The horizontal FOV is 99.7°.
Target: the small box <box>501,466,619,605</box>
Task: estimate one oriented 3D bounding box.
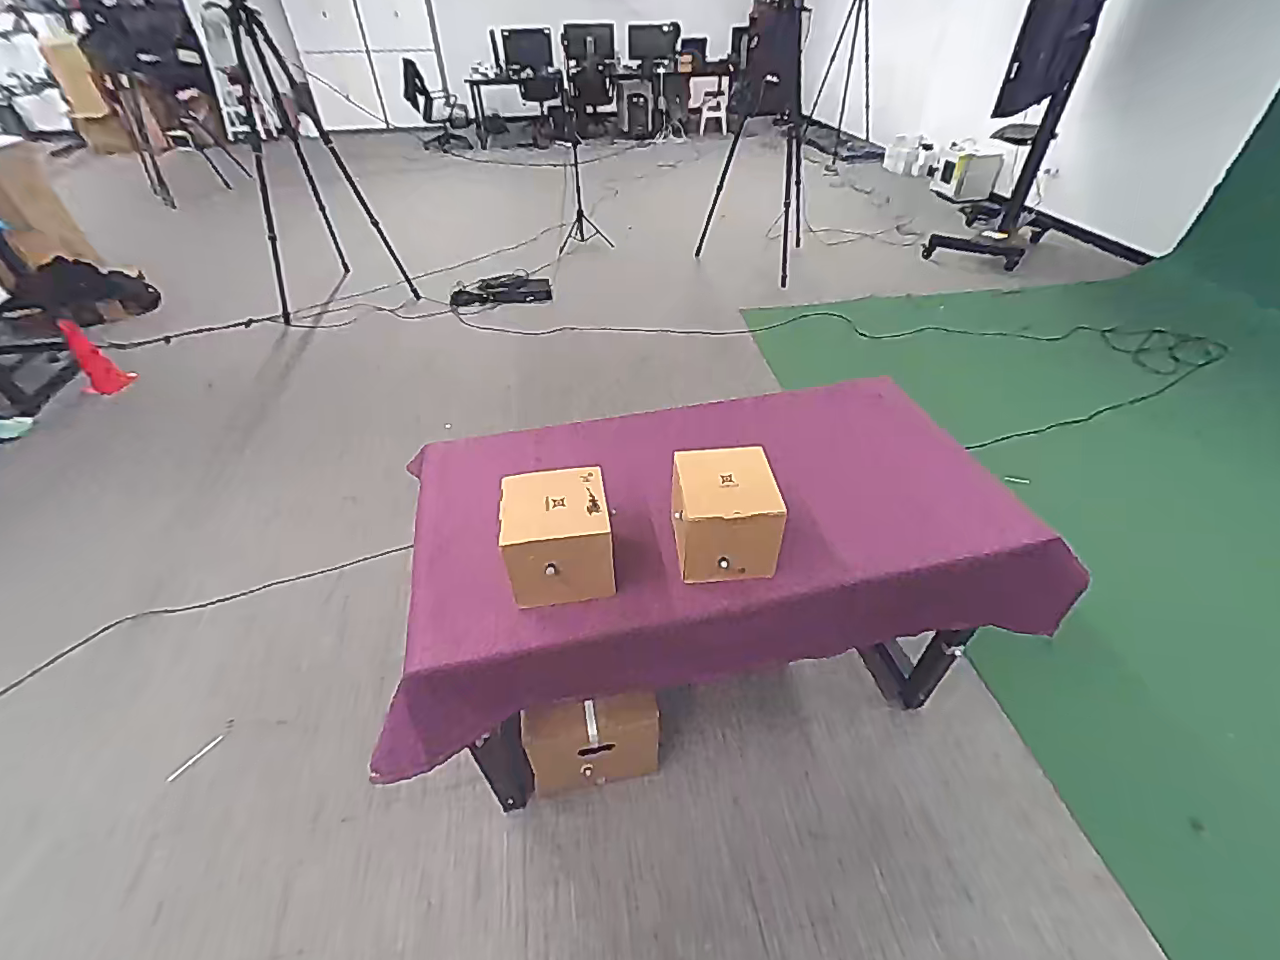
[{"bbox_3d":[-0.137,0.101,0.950,0.179,0.176,0.168,-8,43,-5],"label":"small box"}]

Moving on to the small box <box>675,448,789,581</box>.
[{"bbox_3d":[0.156,0.062,0.987,0.168,0.176,0.179,-4,43,-2],"label":"small box"}]
